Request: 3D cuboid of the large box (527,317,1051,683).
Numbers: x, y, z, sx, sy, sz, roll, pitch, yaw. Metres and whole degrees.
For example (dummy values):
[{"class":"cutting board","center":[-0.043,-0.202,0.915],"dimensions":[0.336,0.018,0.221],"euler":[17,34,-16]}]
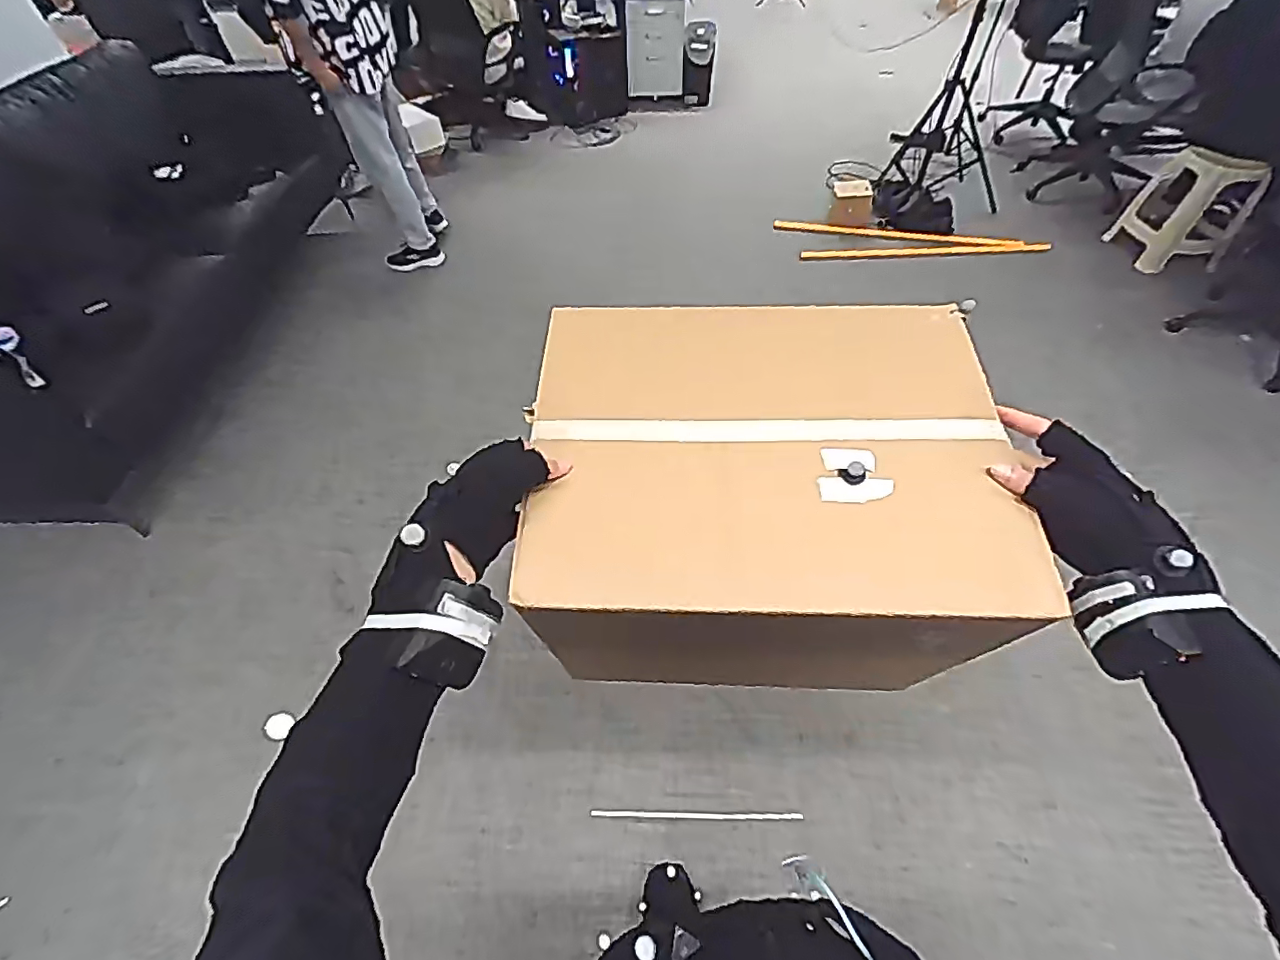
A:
[{"class":"large box","center":[0.114,0.040,0.609],"dimensions":[0.408,0.320,0.320],"euler":[1,60,2]}]
